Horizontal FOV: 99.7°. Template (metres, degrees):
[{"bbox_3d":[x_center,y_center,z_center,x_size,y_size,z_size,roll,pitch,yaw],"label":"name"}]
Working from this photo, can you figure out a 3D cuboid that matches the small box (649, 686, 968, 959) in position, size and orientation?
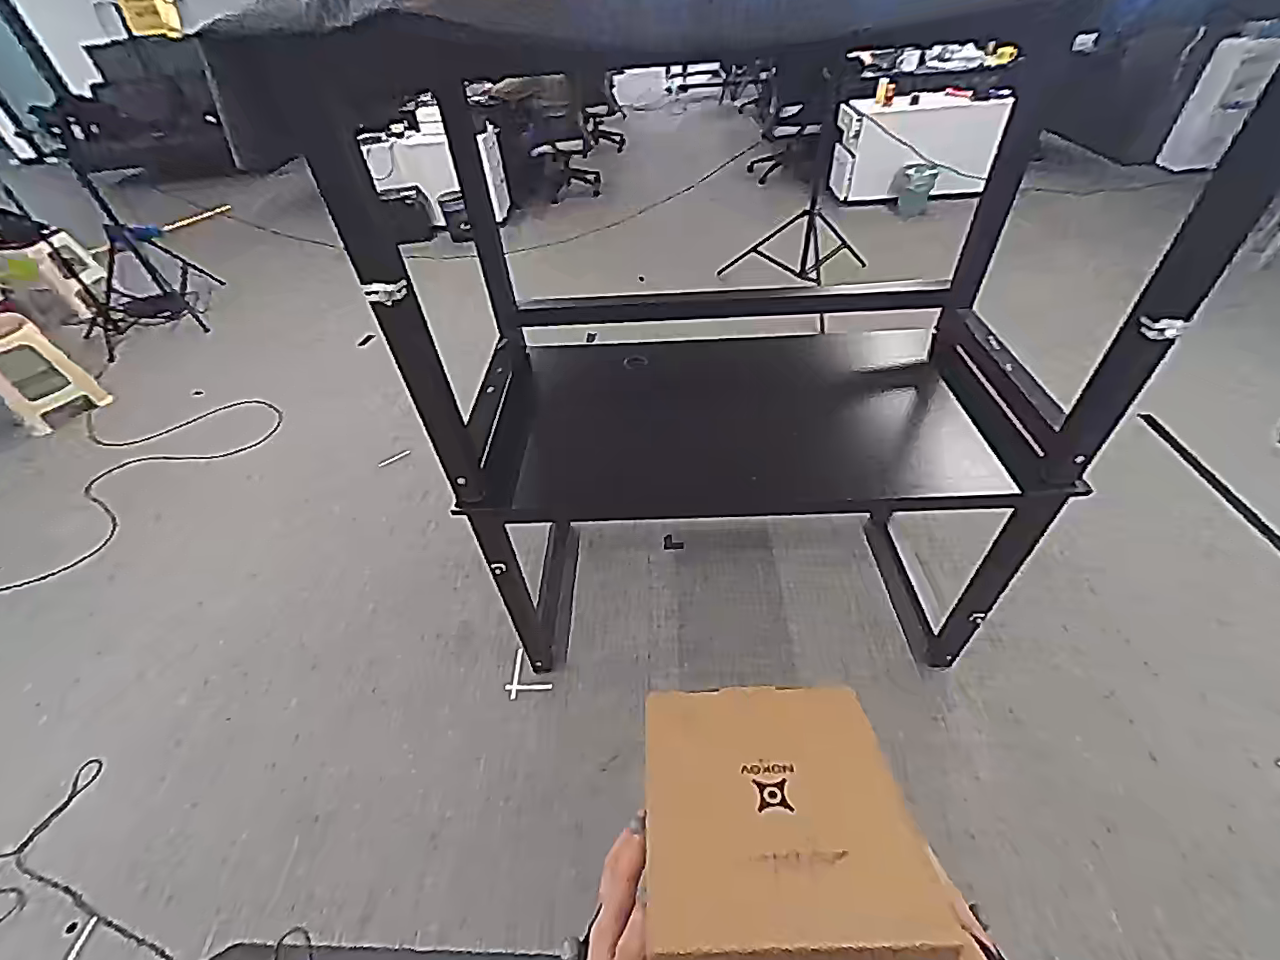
[{"bbox_3d":[0.091,0.276,0.386,0.168,0.176,0.179,-3,26,2],"label":"small box"}]
